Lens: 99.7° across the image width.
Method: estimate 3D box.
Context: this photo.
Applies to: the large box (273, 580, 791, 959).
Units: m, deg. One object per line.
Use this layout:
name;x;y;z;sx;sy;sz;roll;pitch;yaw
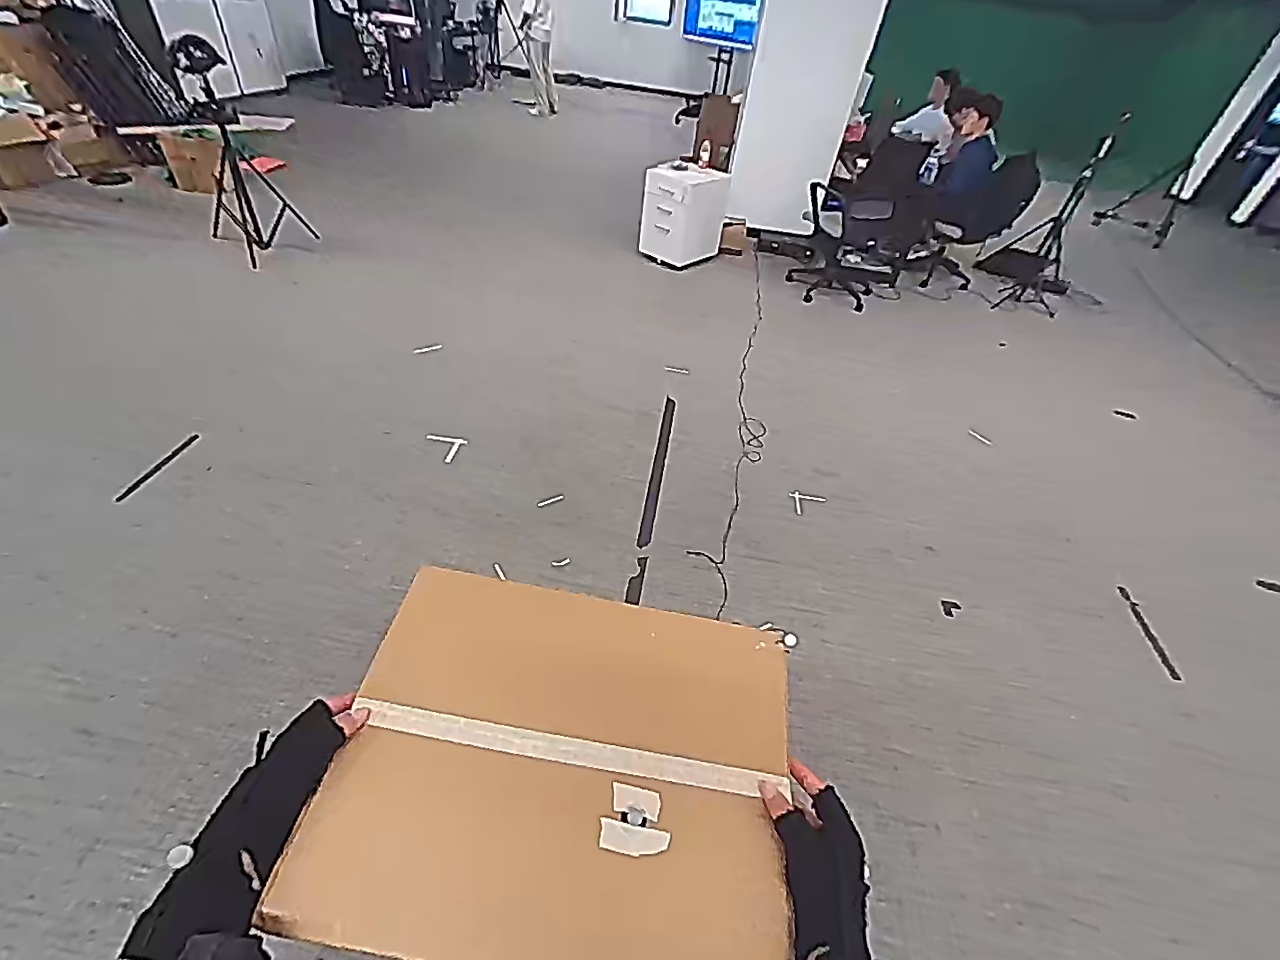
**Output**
large box;-0.082;0.354;0.611;0.408;0.320;0.320;11;49;0
